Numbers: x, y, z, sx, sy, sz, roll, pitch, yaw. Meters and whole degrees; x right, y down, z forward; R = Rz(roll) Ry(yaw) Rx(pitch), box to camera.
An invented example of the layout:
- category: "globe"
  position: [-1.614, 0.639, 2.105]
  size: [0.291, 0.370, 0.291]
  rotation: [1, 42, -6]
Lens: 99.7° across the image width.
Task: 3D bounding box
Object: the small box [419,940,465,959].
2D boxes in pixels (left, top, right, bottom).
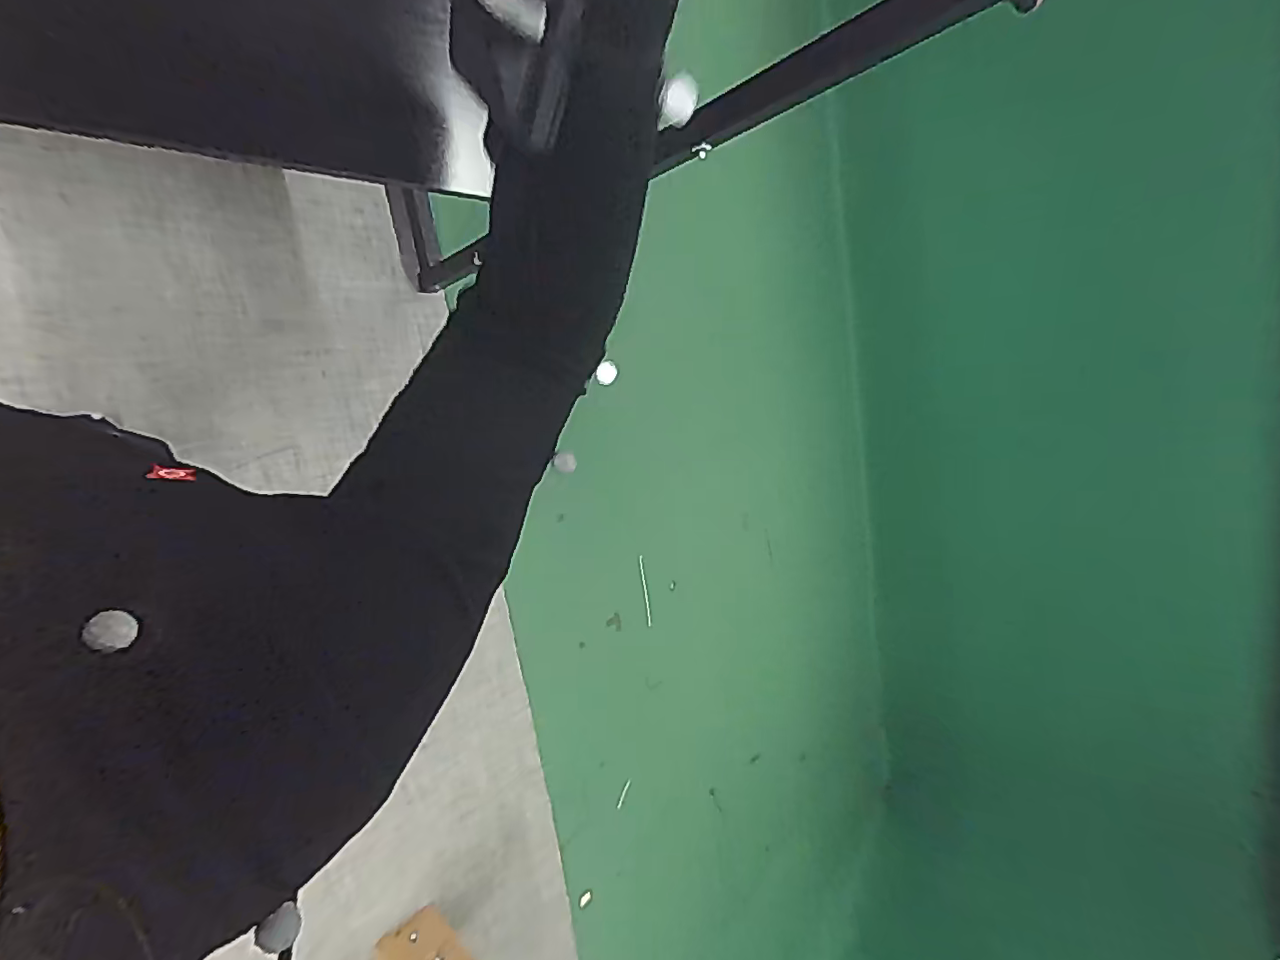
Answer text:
- category: "small box"
  position: [-0.512, 1.348, 1.382]
  size: [0.168, 0.176, 0.179]
  rotation: [-17, 102, -47]

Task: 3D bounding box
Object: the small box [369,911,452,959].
- category: "small box"
  position: [-0.629, 1.348, 1.494]
  size: [0.168, 0.176, 0.179]
  rotation: [-12, 98, -47]
